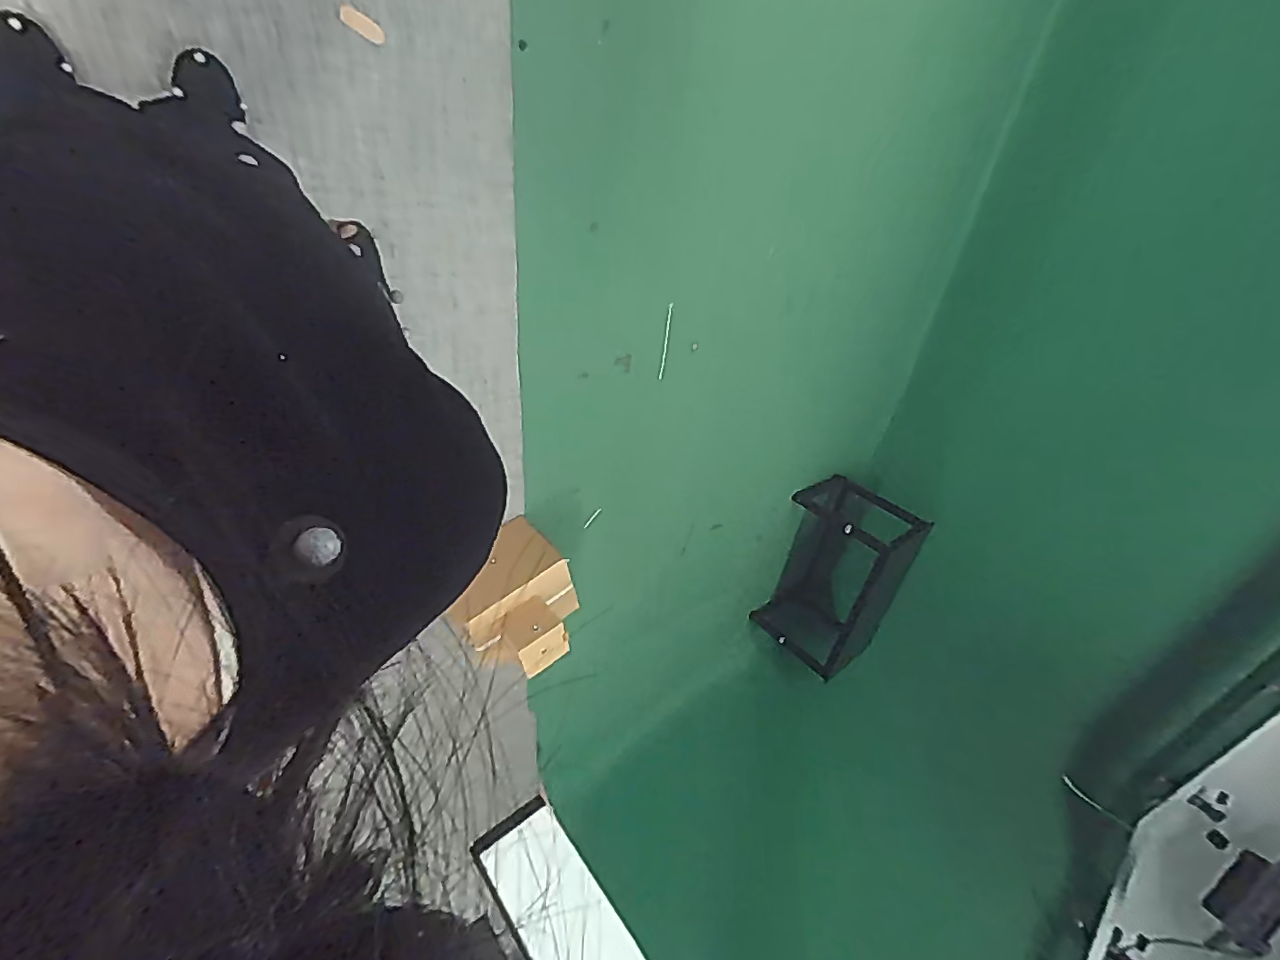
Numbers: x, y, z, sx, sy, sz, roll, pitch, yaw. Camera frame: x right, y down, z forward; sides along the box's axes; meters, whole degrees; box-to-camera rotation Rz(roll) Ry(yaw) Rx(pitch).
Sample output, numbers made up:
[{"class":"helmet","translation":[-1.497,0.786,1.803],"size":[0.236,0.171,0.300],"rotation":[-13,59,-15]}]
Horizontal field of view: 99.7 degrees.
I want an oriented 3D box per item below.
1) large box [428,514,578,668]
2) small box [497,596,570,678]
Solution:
[{"class":"large box","translation":[-0.504,0.405,2.029],"size":[0.408,0.320,0.320],"rotation":[-33,140,-26]},{"class":"small box","translation":[-0.368,0.537,1.869],"size":[0.179,0.176,0.168],"rotation":[-29,135,-27]}]
